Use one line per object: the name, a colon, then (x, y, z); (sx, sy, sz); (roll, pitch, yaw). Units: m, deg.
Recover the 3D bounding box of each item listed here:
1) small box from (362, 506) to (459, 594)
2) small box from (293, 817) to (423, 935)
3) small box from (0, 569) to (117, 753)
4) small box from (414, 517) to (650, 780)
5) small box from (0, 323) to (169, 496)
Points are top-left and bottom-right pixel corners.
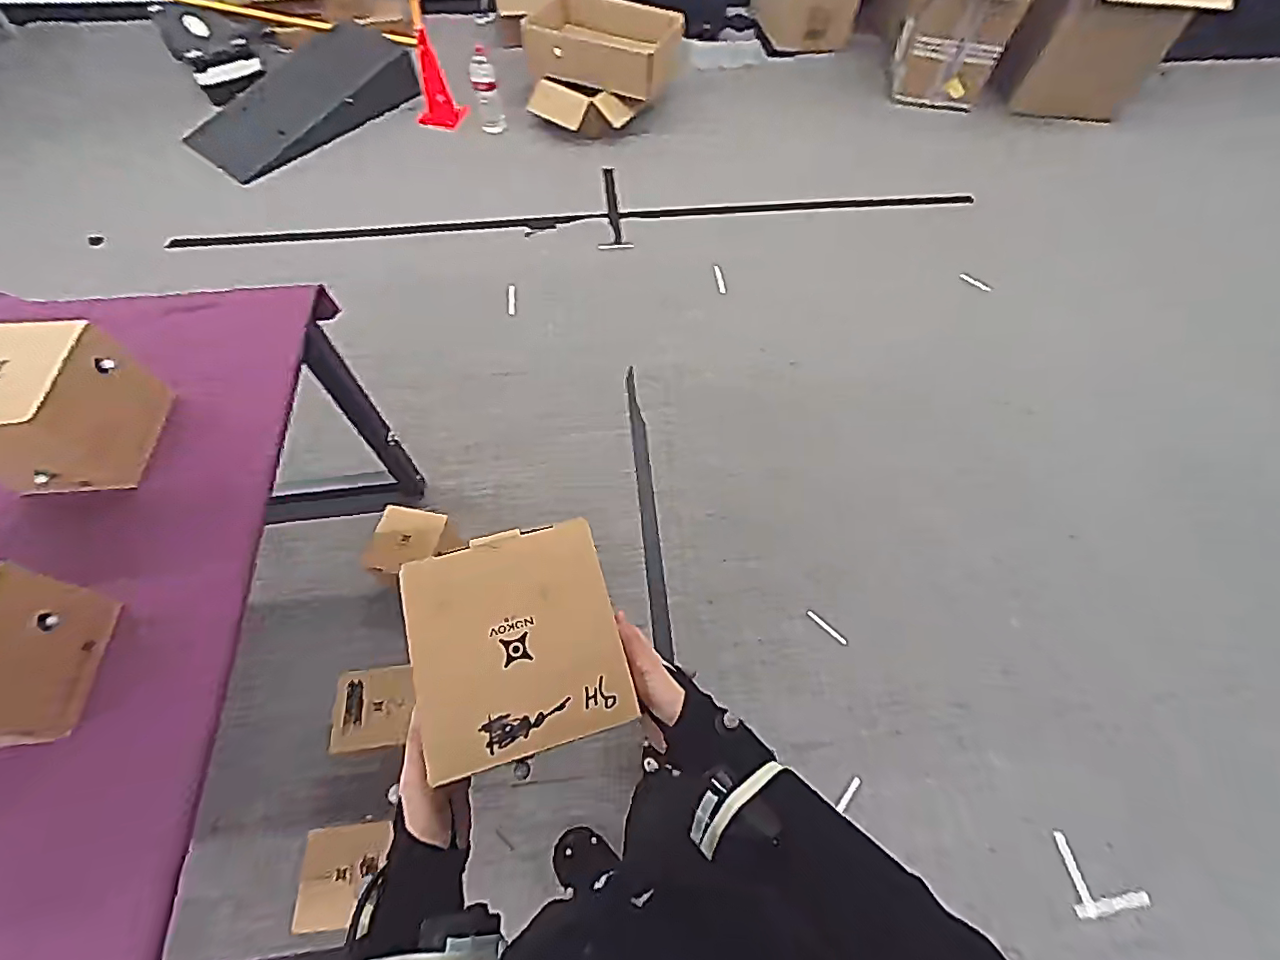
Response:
small box: (-0.599, 0.195, 1.443); (0.168, 0.176, 0.179); (10, 62, 3)
small box: (-0.562, 0.799, 1.108); (0.179, 0.176, 0.168); (-5, 61, -3)
small box: (-0.755, 0.206, 0.598); (0.179, 0.176, 0.168); (-5, 60, -2)
small box: (-0.096, 0.160, 0.512); (0.168, 0.176, 0.179); (-14, 67, -8)
small box: (-0.824, -0.095, 0.761); (0.168, 0.176, 0.179); (-4, 62, -3)
